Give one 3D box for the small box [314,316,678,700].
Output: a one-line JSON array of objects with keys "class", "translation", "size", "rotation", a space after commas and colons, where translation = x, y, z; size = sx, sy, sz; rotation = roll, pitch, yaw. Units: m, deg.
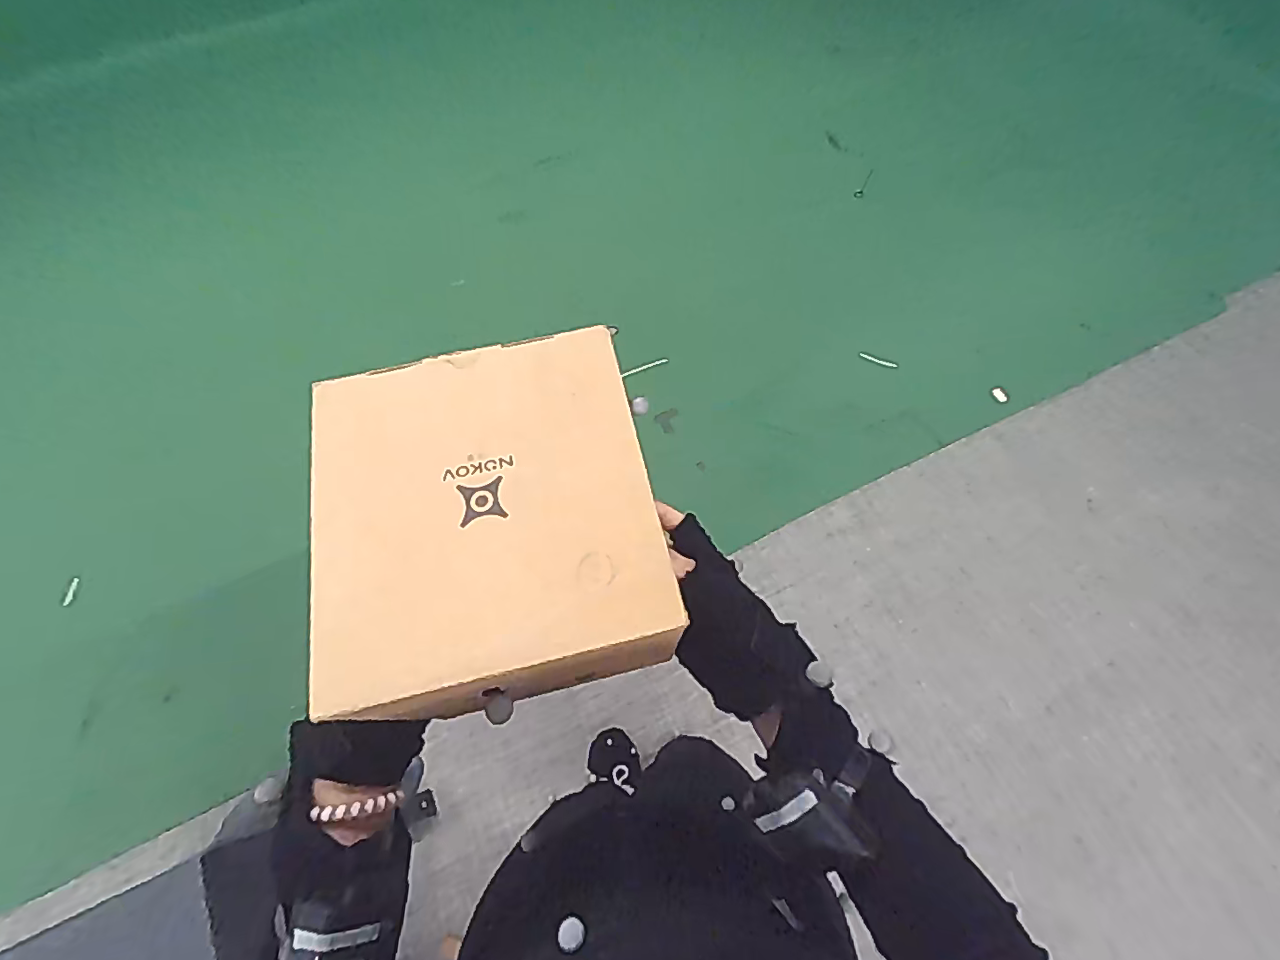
[{"class": "small box", "translation": [-0.077, 0.032, 0.343], "size": [0.168, 0.176, 0.179], "rotation": [-13, 65, -5]}]
